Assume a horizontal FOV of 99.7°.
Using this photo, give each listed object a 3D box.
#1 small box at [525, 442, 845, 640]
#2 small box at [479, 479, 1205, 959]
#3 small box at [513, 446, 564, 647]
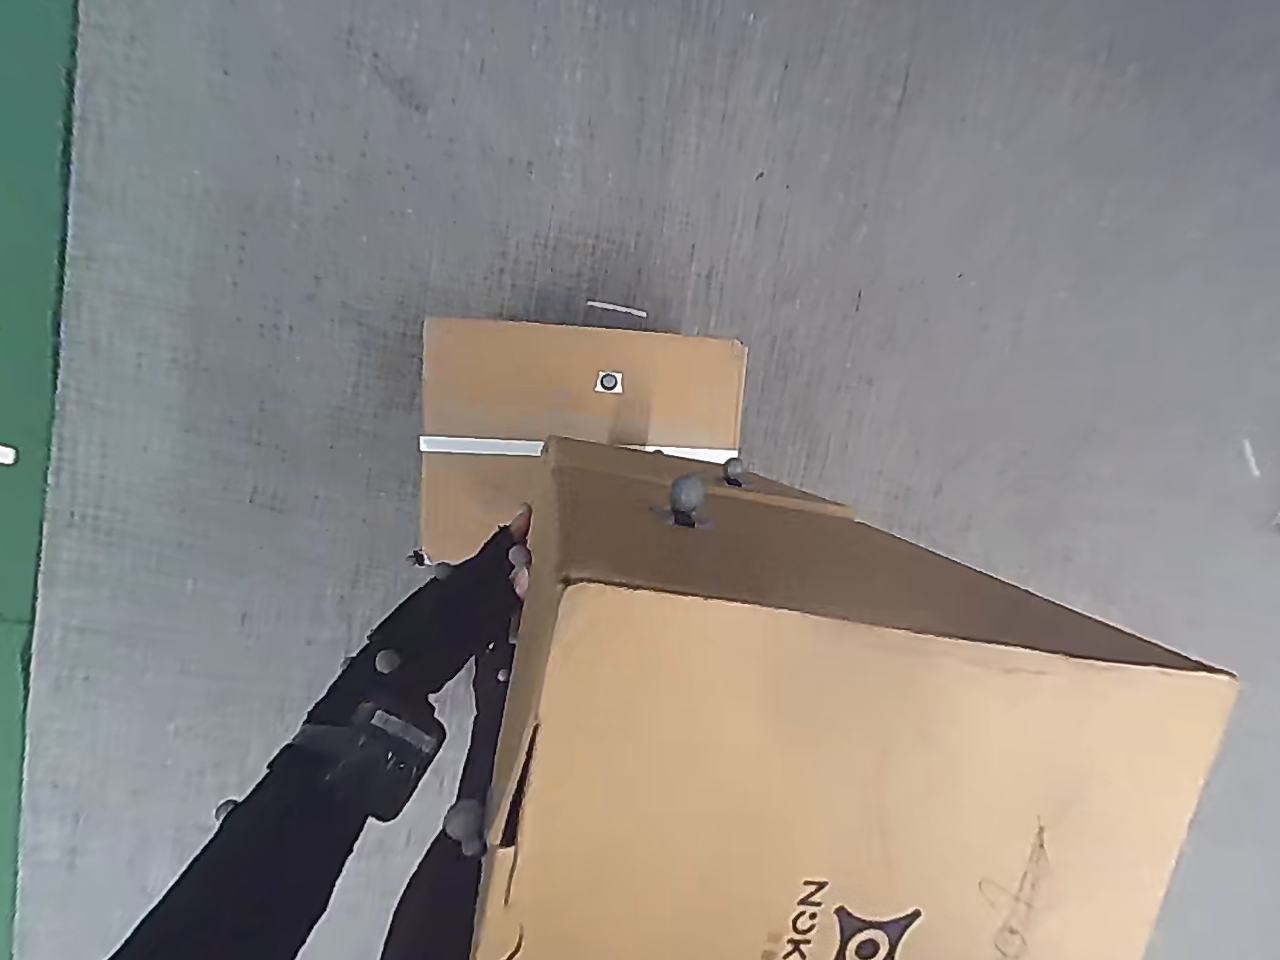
[{"bbox_3d":[0.011,0.078,0.373,0.168,0.176,0.179,9,97,-10],"label":"small box"},{"bbox_3d":[0.039,0.099,0.215,0.179,0.176,0.168,10,98,-12],"label":"small box"},{"bbox_3d":[-0.018,0.063,0.533,0.179,0.176,0.168,11,96,-9],"label":"small box"}]
